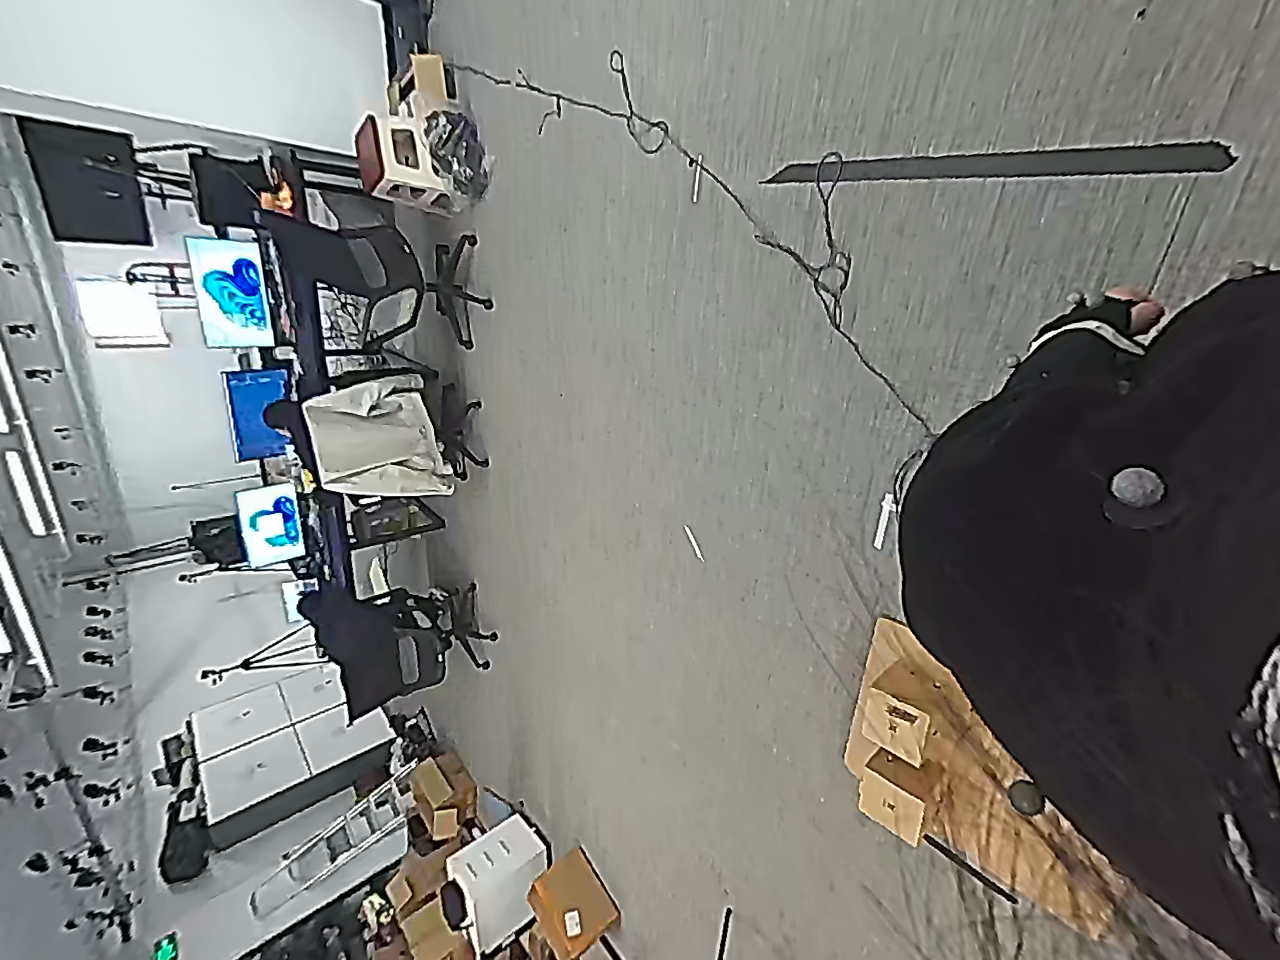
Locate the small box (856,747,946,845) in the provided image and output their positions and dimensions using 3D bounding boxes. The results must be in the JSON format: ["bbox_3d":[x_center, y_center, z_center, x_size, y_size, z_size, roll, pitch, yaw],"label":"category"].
[{"bbox_3d":[0.767,0.909,1.592,0.179,0.176,0.168,17,115,44],"label":"small box"}]

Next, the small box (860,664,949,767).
[{"bbox_3d":[0.752,0.656,1.531,0.168,0.176,0.179,19,115,44],"label":"small box"}]
